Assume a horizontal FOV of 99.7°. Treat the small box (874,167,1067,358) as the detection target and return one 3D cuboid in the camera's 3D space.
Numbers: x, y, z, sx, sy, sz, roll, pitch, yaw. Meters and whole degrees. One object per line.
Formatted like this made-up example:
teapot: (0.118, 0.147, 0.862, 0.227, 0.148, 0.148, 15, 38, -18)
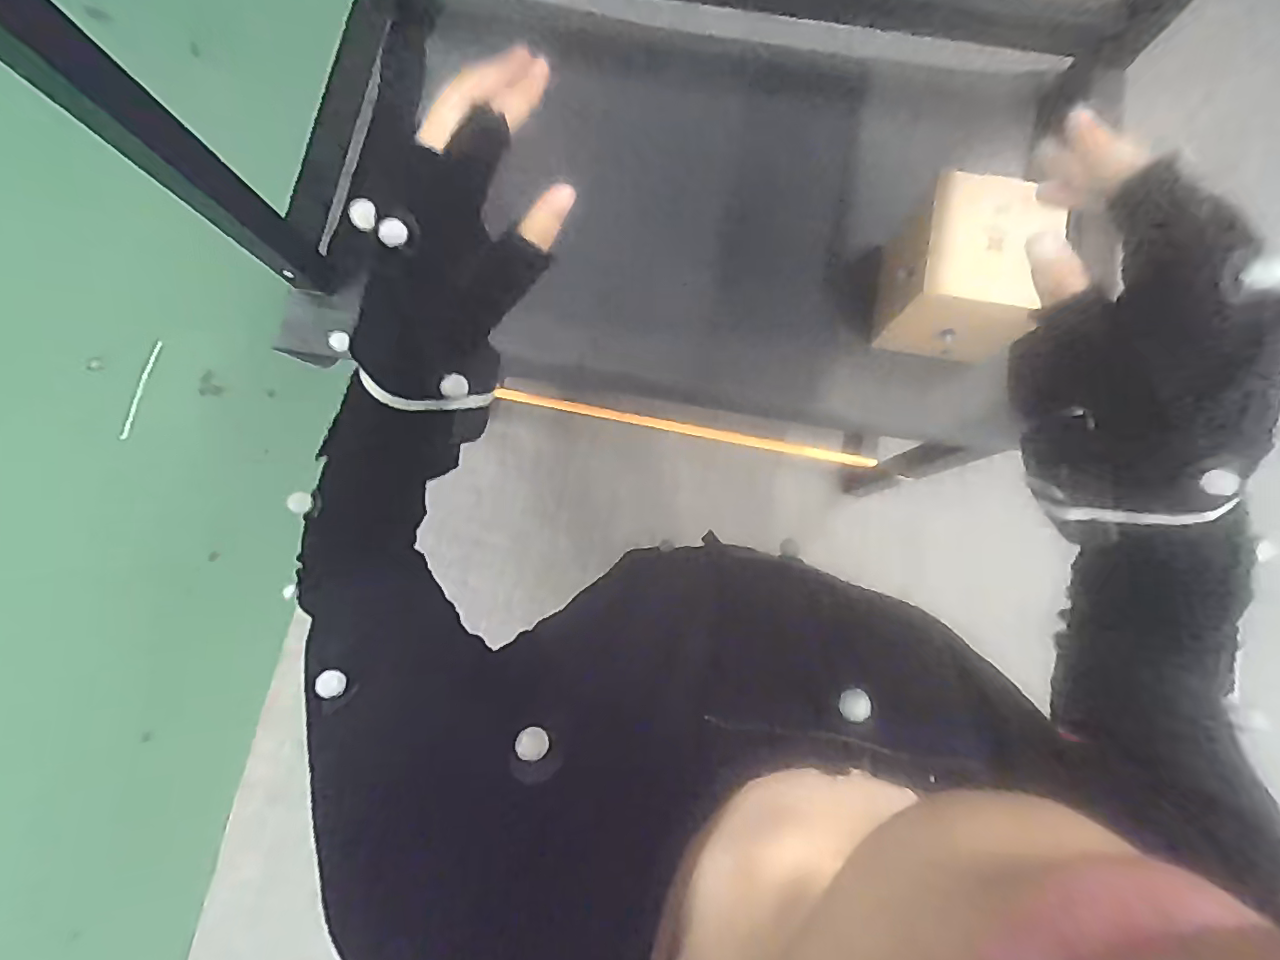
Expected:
small box: (0.444, -0.289, 0.752, 0.168, 0.176, 0.179, 11, 80, 3)
